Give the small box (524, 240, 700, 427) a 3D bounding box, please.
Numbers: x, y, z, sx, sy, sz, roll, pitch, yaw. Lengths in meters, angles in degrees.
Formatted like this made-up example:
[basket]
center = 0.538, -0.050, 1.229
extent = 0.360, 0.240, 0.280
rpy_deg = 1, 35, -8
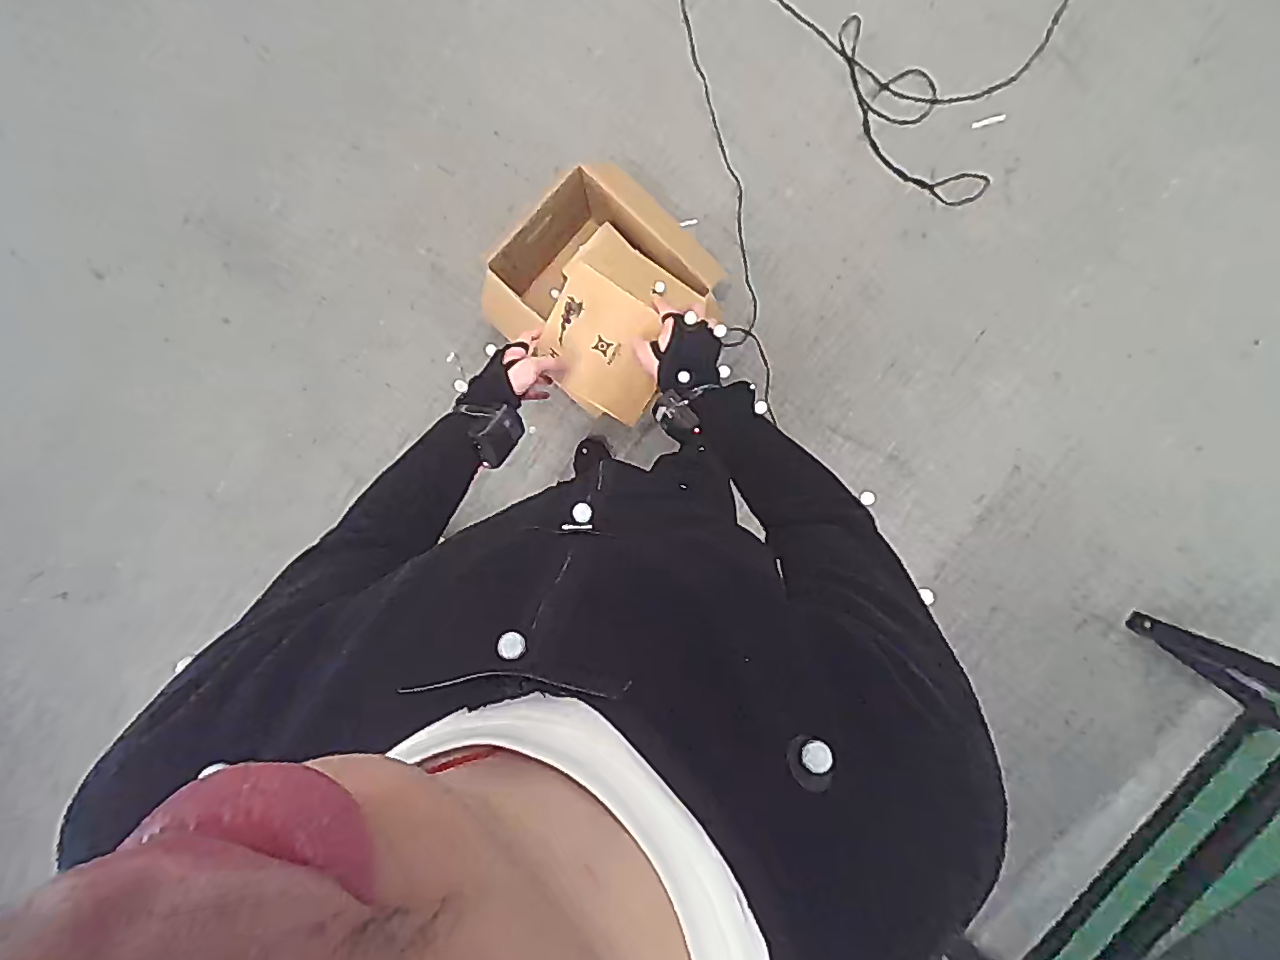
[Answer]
[small box]
center = -0.031, -0.215, 0.775
extent = 0.179, 0.176, 0.168
rpy_deg = 33, 125, -10
